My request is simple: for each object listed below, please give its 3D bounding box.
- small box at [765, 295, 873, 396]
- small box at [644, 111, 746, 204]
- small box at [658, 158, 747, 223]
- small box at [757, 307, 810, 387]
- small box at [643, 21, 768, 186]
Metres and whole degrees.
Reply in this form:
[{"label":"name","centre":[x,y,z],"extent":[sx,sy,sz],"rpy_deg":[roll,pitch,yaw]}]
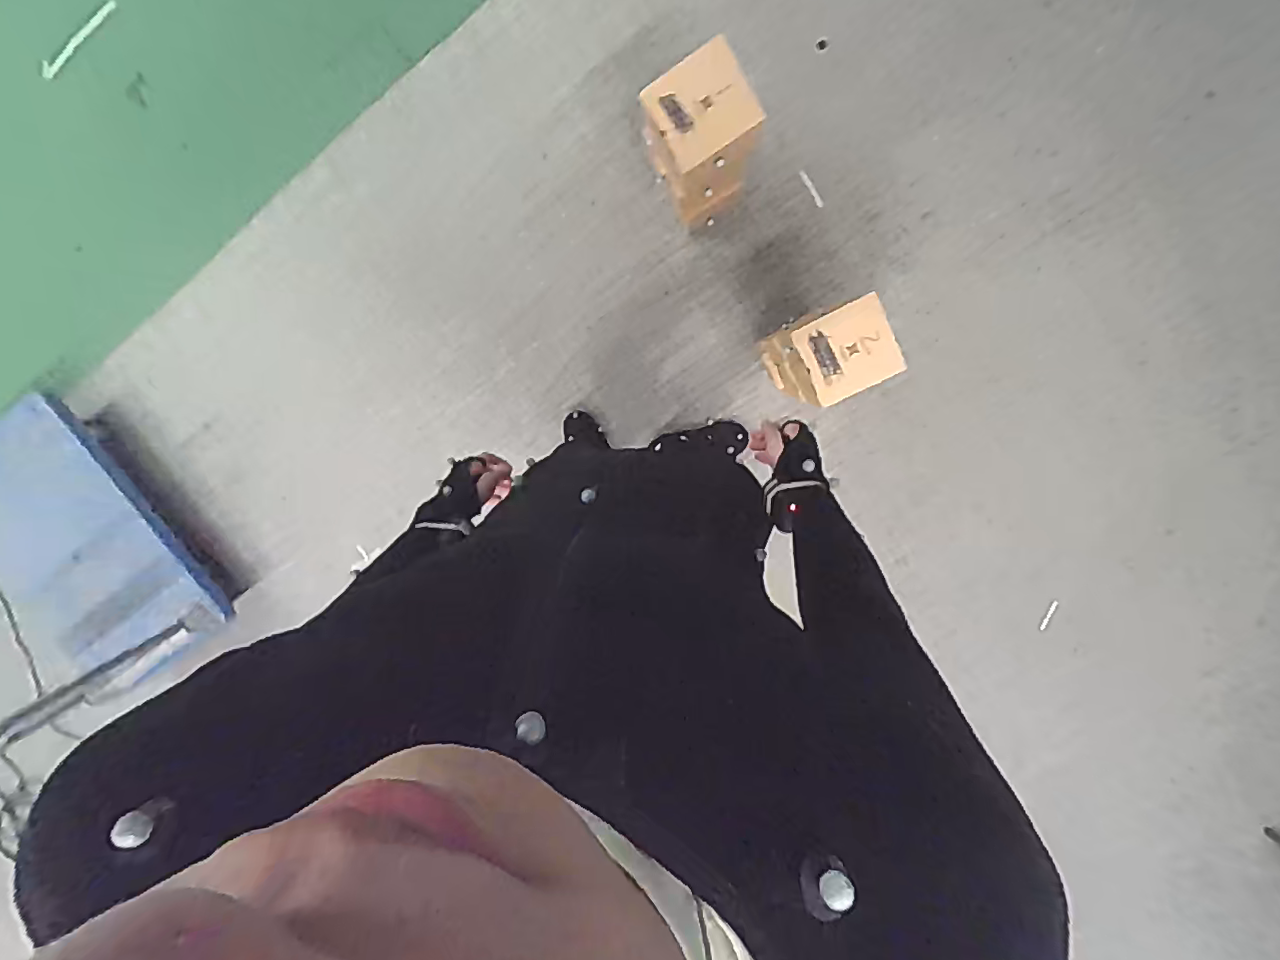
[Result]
[{"label":"small box","centre":[0.415,-0.317,1.279],"extent":[0.179,0.176,0.168],"rpy_deg":[-26,100,11]},{"label":"small box","centre":[0.130,-0.751,1.207],"extent":[0.179,0.176,0.168],"rpy_deg":[-27,99,12]},{"label":"small box","centre":[0.151,-0.785,1.365],"extent":[0.168,0.176,0.179],"rpy_deg":[-27,99,11]},{"label":"small box","centre":[0.423,-0.358,1.434],"extent":[0.179,0.176,0.168],"rpy_deg":[-21,98,11]},{"label":"small box","centre":[0.126,-0.710,1.047],"extent":[0.179,0.176,0.168],"rpy_deg":[-29,98,11]}]
